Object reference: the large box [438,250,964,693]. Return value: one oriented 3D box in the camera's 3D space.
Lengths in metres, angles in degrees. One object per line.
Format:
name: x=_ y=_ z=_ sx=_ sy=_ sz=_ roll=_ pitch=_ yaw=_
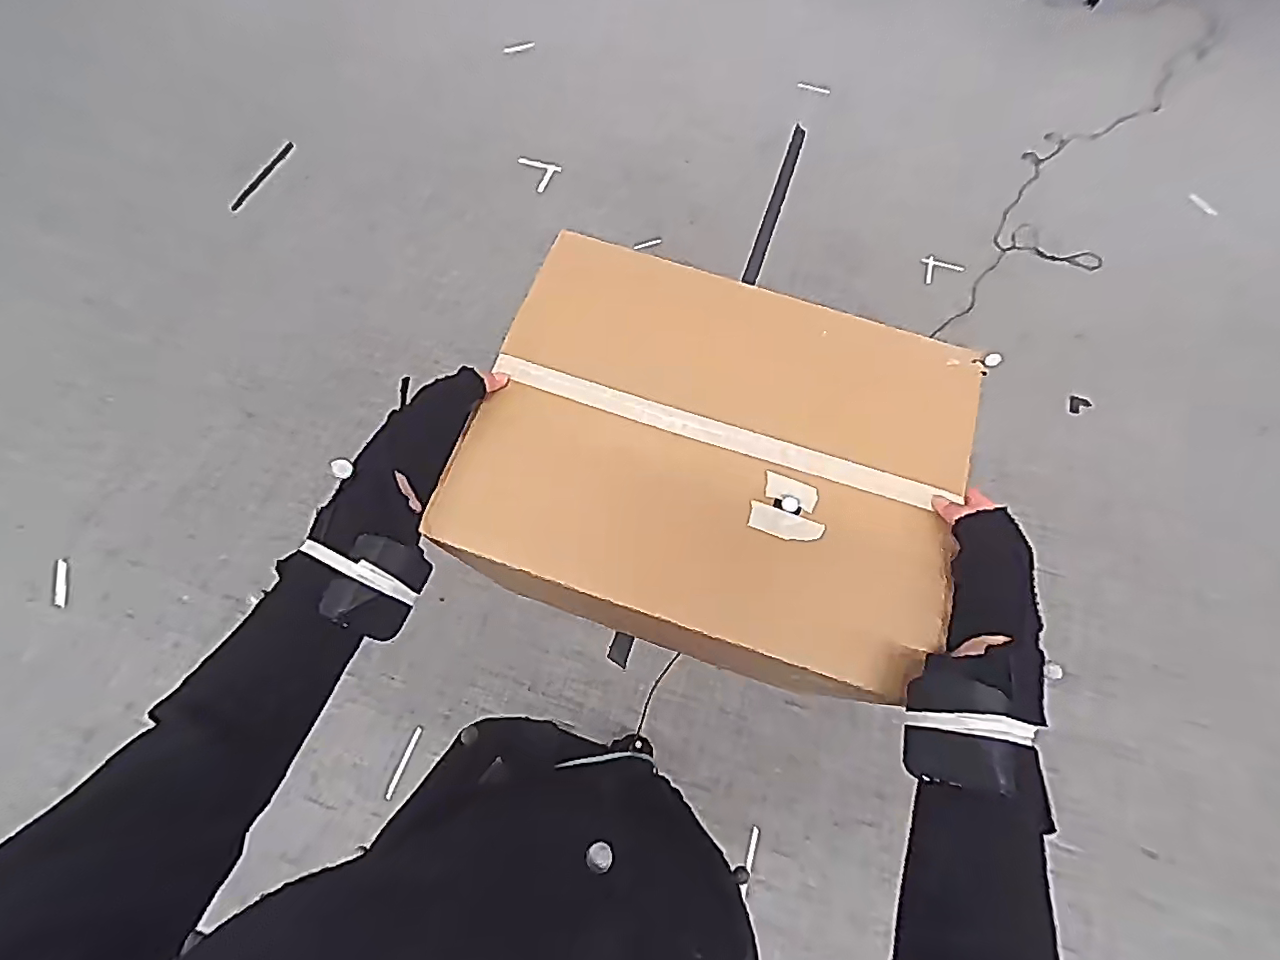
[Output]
large box: x=0.061 y=0.016 z=0.606 sx=0.408 sy=0.320 sz=0.320 roll=18 pitch=72 yaw=3
